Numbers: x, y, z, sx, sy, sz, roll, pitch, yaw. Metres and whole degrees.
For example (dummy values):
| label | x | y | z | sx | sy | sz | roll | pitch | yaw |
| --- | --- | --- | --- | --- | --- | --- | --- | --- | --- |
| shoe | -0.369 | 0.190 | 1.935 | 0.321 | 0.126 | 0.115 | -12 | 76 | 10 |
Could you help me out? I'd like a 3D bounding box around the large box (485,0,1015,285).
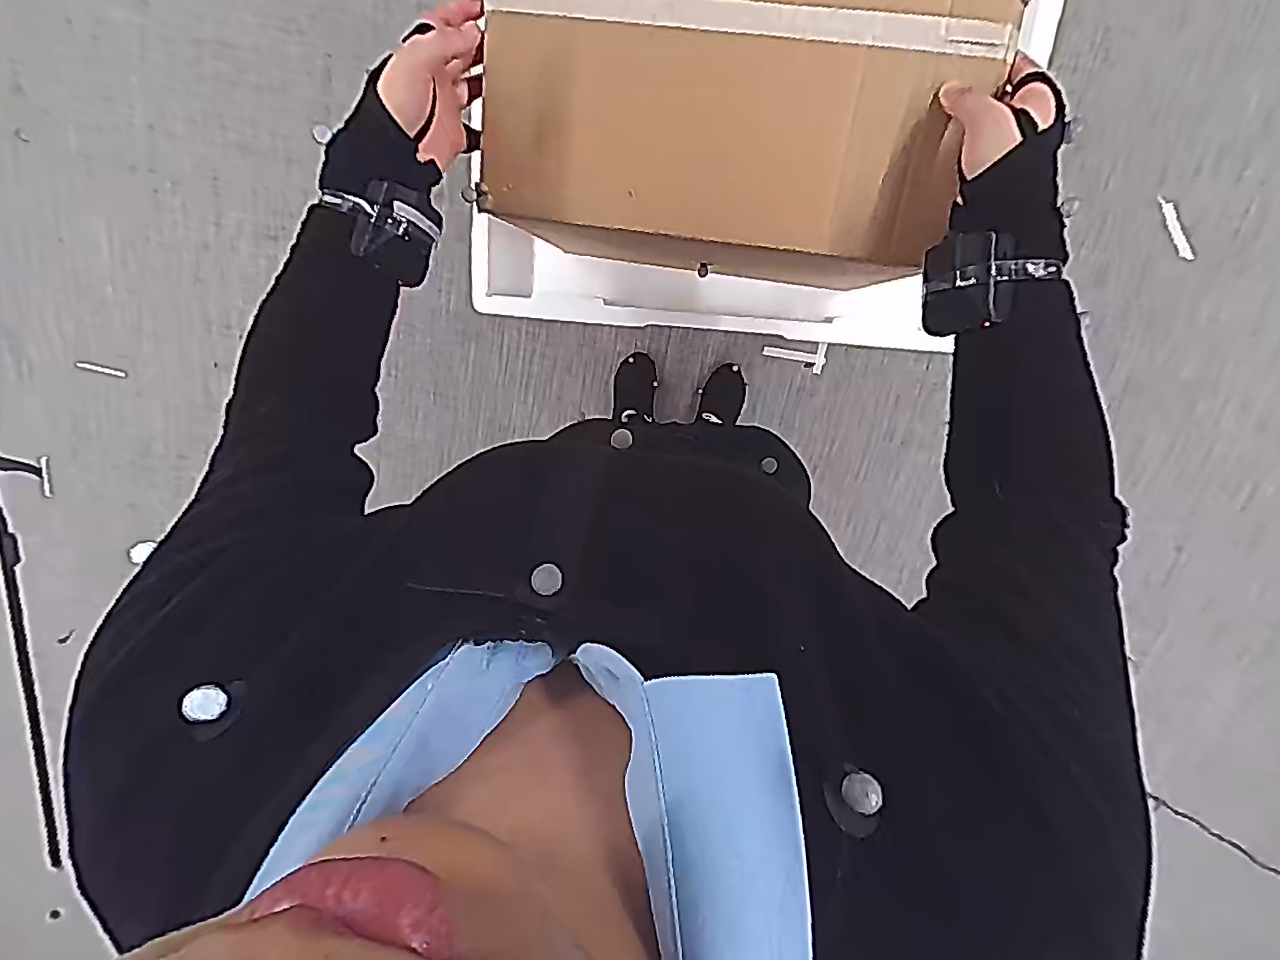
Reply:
| label | x | y | z | sx | sy | sz | roll | pitch | yaw |
| --- | --- | --- | --- | --- | --- | --- | --- | --- | --- |
| large box | 0.094 | -0.388 | 0.559 | 0.408 | 0.320 | 0.320 | 8 | 105 | 5 |
